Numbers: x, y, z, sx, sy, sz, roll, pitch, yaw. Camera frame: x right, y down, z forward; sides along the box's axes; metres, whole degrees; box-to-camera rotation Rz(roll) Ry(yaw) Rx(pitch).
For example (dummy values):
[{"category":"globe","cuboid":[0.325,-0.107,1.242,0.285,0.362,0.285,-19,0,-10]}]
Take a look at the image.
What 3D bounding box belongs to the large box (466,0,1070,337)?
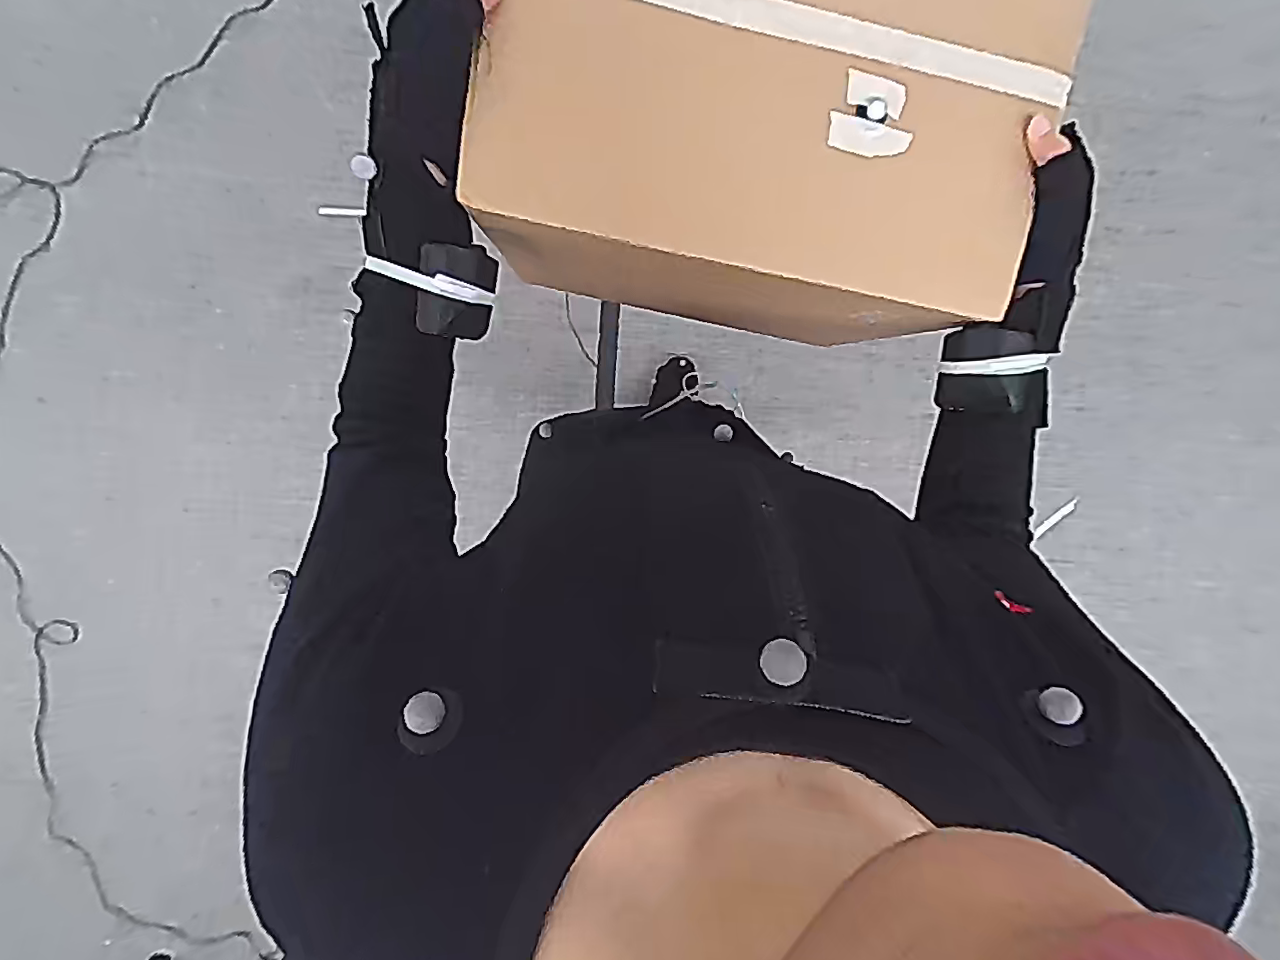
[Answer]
[{"category":"large box","cuboid":[0.082,-0.335,0.517,0.408,0.320,0.320,9,101,-7]}]
